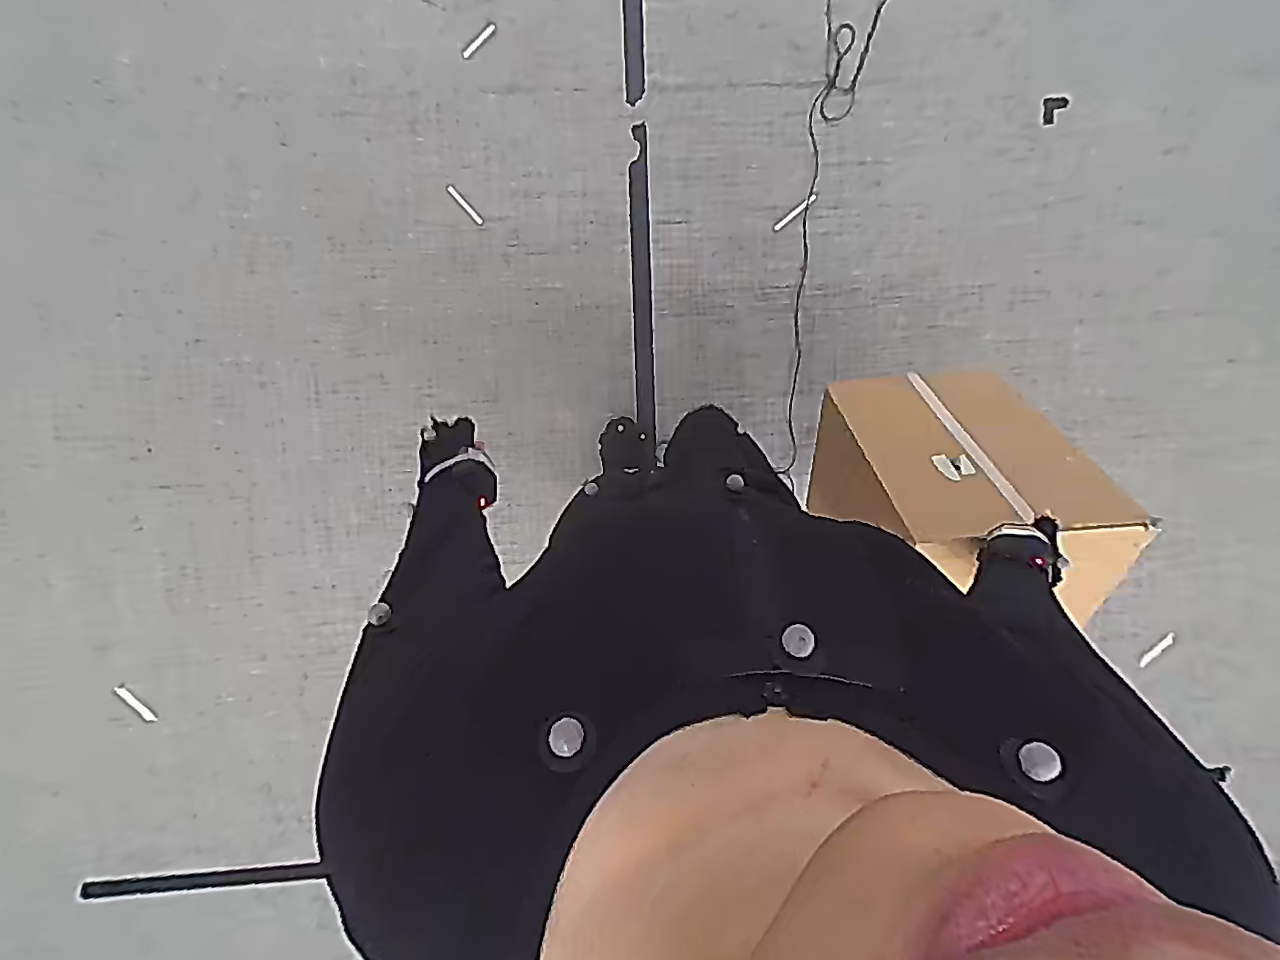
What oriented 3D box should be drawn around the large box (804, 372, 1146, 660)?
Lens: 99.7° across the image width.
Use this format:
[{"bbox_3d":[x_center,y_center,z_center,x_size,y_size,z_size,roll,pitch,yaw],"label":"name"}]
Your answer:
[{"bbox_3d":[0.516,0.053,0.959,0.320,0.408,0.320,-5,132,1],"label":"large box"}]
